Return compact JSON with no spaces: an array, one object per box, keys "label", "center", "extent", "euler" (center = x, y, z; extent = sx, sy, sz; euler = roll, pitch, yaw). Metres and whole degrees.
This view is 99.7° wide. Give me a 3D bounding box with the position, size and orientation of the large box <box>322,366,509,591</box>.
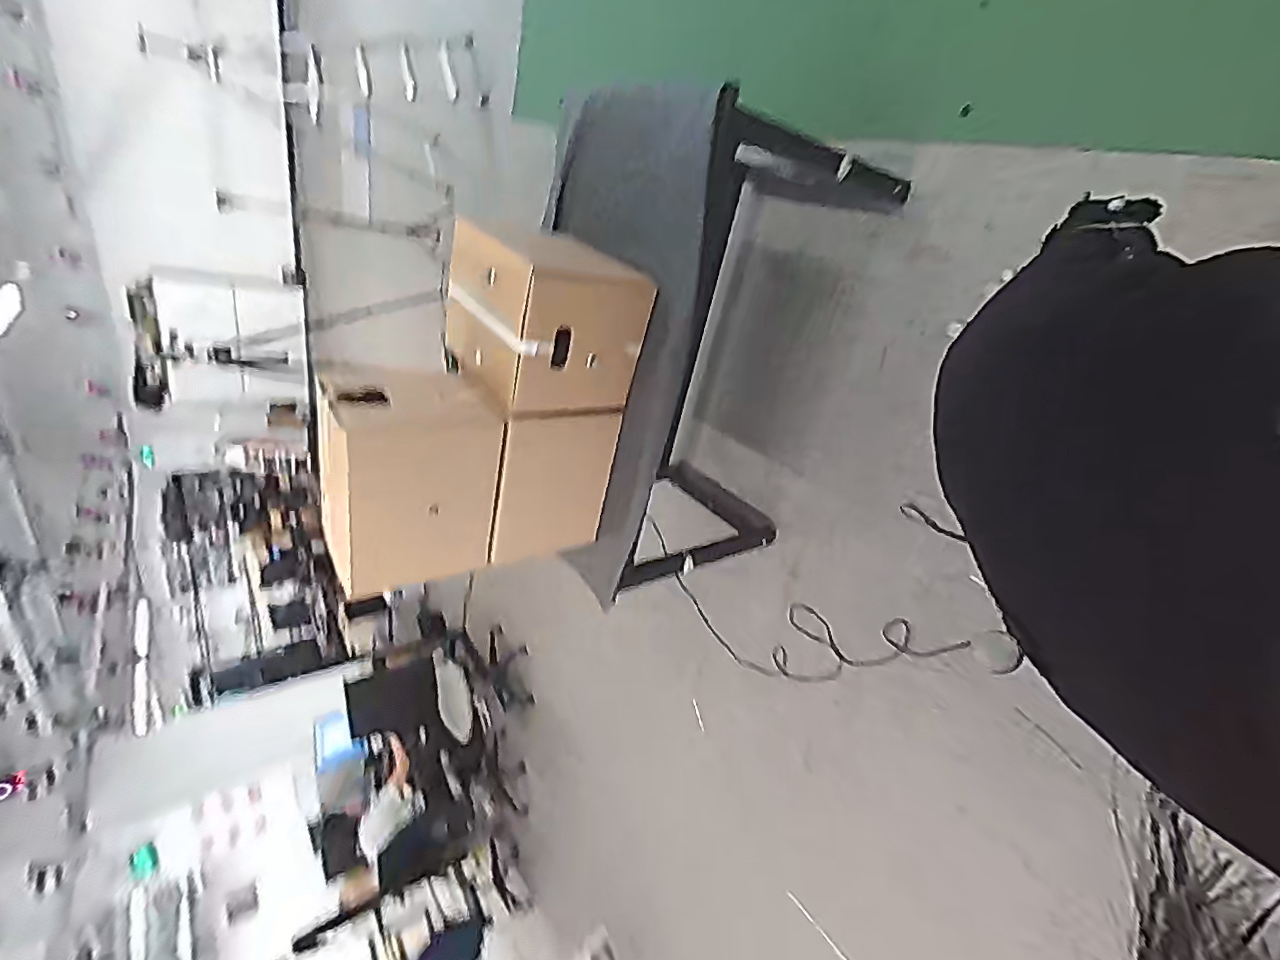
[{"label":"large box","center":[-0.522,-0.025,1.251],"extent":[0.320,0.320,0.408],"euler":[42,128,41]}]
